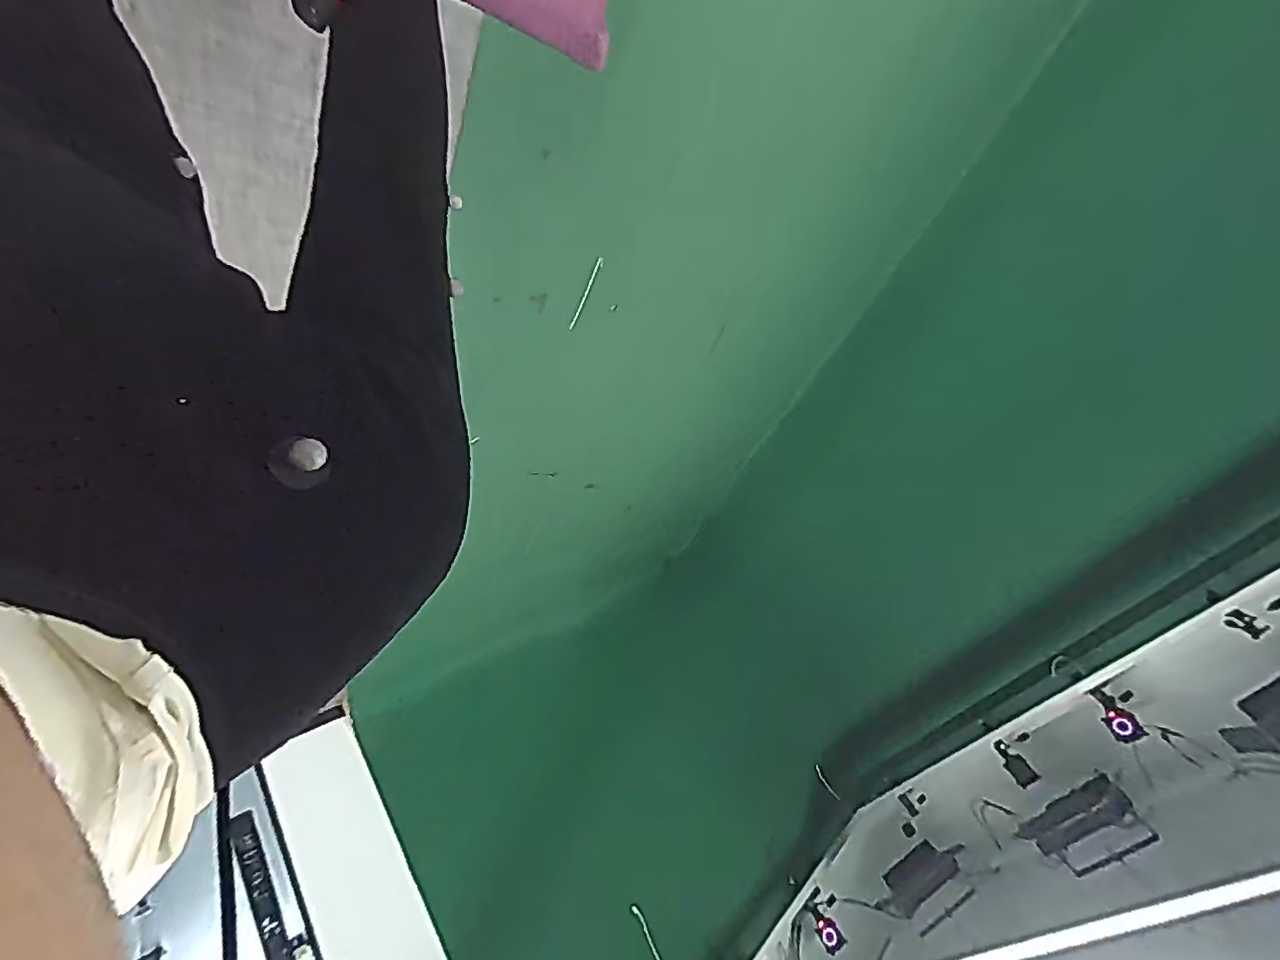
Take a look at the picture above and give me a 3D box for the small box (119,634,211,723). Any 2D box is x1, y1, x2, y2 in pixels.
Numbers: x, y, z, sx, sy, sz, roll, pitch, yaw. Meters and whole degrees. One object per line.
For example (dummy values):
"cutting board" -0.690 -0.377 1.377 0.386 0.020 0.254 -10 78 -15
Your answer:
"small box" -1.447 0.595 1.645 0.179 0.176 0.168 -3 136 -52

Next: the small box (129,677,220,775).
"small box" -1.353 0.705 1.568 0.168 0.176 0.179 -2 135 -52

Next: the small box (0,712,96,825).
"small box" -1.507 0.715 1.363 0.168 0.176 0.179 -4 138 -51
